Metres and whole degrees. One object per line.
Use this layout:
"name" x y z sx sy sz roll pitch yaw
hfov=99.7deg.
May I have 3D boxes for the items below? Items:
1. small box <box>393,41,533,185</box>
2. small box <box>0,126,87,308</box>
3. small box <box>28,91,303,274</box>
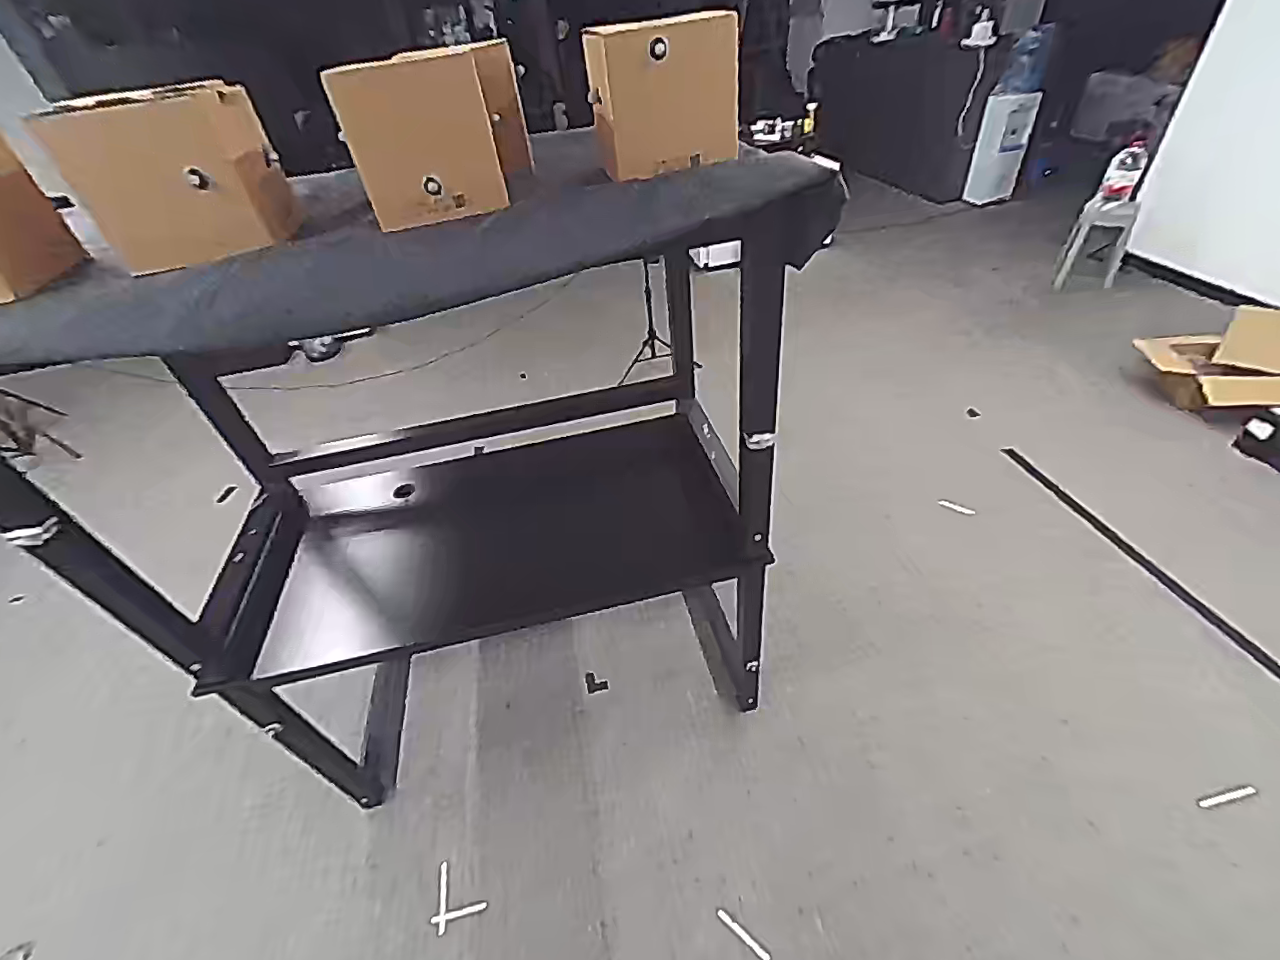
"small box" -0.275 -0.596 0.881 0.168 0.176 0.179 -12 41 -3
"small box" -0.836 -0.307 0.645 0.168 0.176 0.179 -15 42 -8
"small box" -0.564 -0.377 0.682 0.179 0.176 0.168 -13 38 -9
